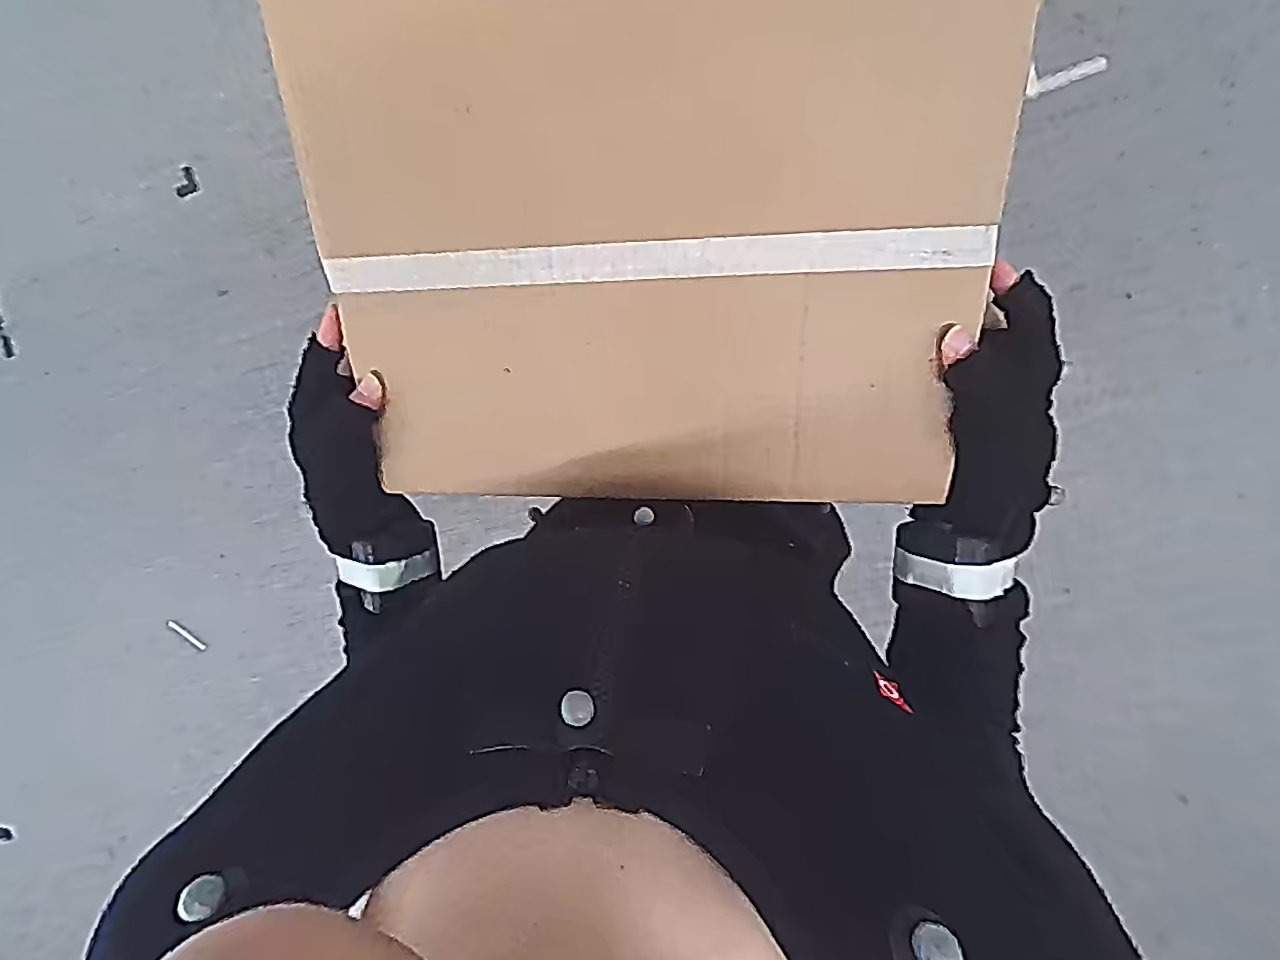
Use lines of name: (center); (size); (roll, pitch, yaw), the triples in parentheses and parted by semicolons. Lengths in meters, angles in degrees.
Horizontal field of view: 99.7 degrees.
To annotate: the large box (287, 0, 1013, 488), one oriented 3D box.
large box: (0.015, -0.193, 0.476); (0.408, 0.320, 0.320); (0, 113, 8)
